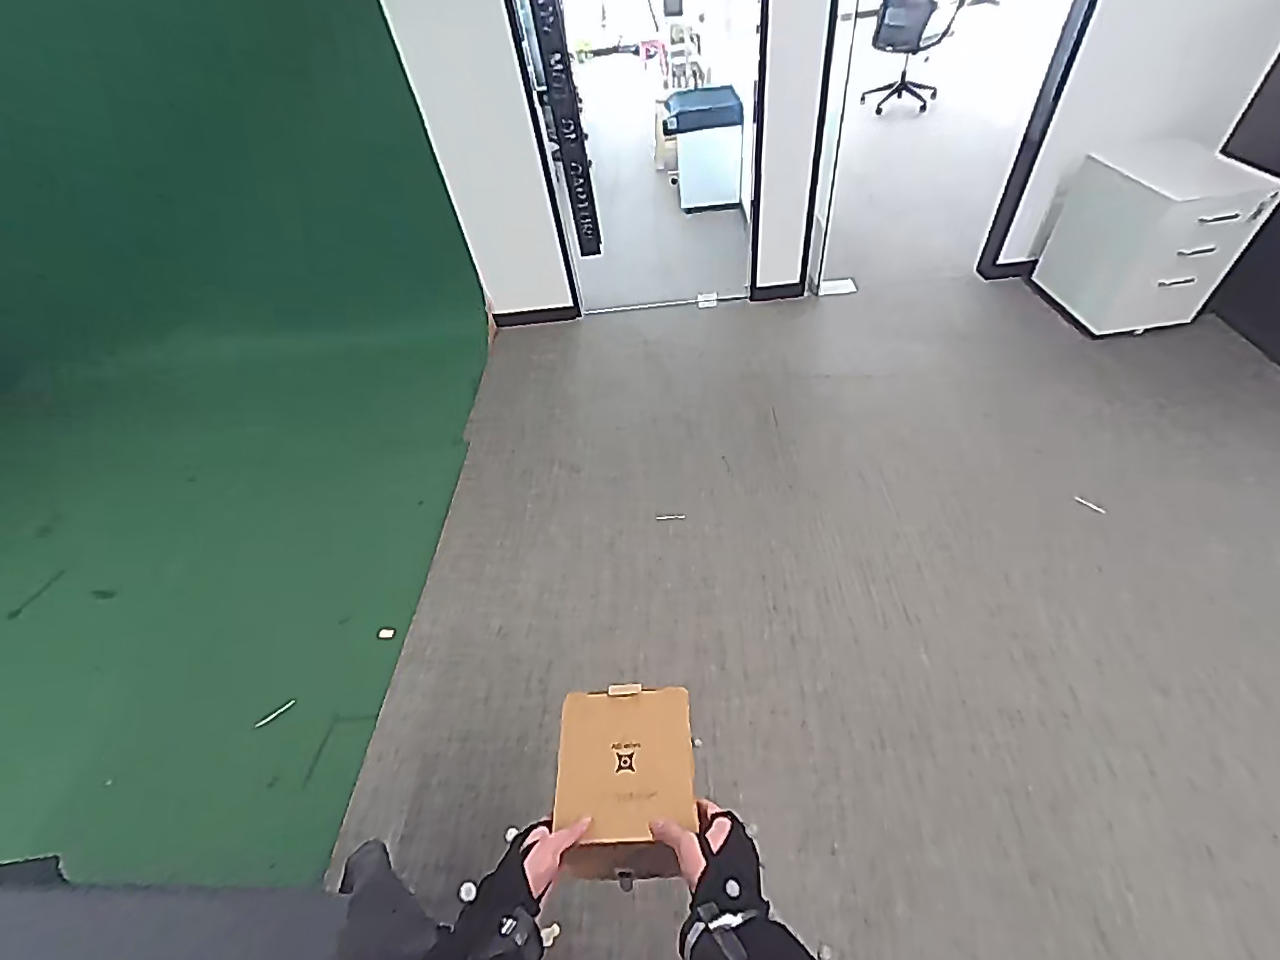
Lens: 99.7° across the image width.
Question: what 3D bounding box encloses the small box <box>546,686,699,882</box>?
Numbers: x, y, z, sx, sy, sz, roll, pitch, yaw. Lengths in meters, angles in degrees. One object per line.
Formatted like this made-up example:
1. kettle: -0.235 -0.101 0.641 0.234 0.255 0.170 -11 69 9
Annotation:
1. small box: -0.012 0.388 0.694 0.168 0.176 0.179 -4 42 5
